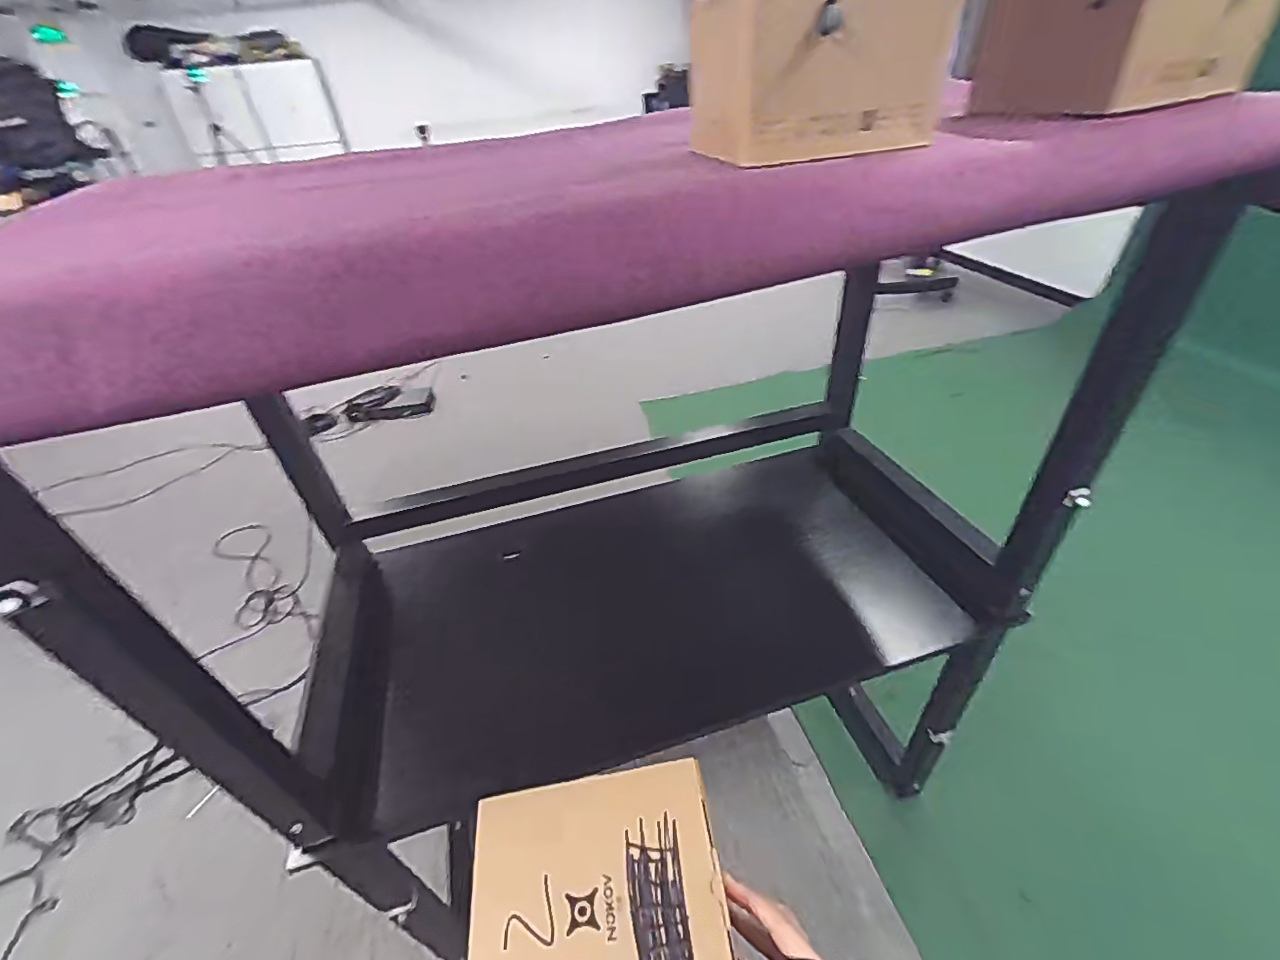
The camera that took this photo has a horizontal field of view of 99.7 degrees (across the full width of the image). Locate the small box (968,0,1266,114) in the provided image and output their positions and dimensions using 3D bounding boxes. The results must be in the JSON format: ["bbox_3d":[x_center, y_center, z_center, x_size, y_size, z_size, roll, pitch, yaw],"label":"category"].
[{"bbox_3d":[0.470,-0.471,0.530,0.168,0.176,0.179,-15,37,-11],"label":"small box"}]

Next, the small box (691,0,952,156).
[{"bbox_3d":[0.145,-0.386,0.464,0.168,0.176,0.179,-10,36,-6],"label":"small box"}]
